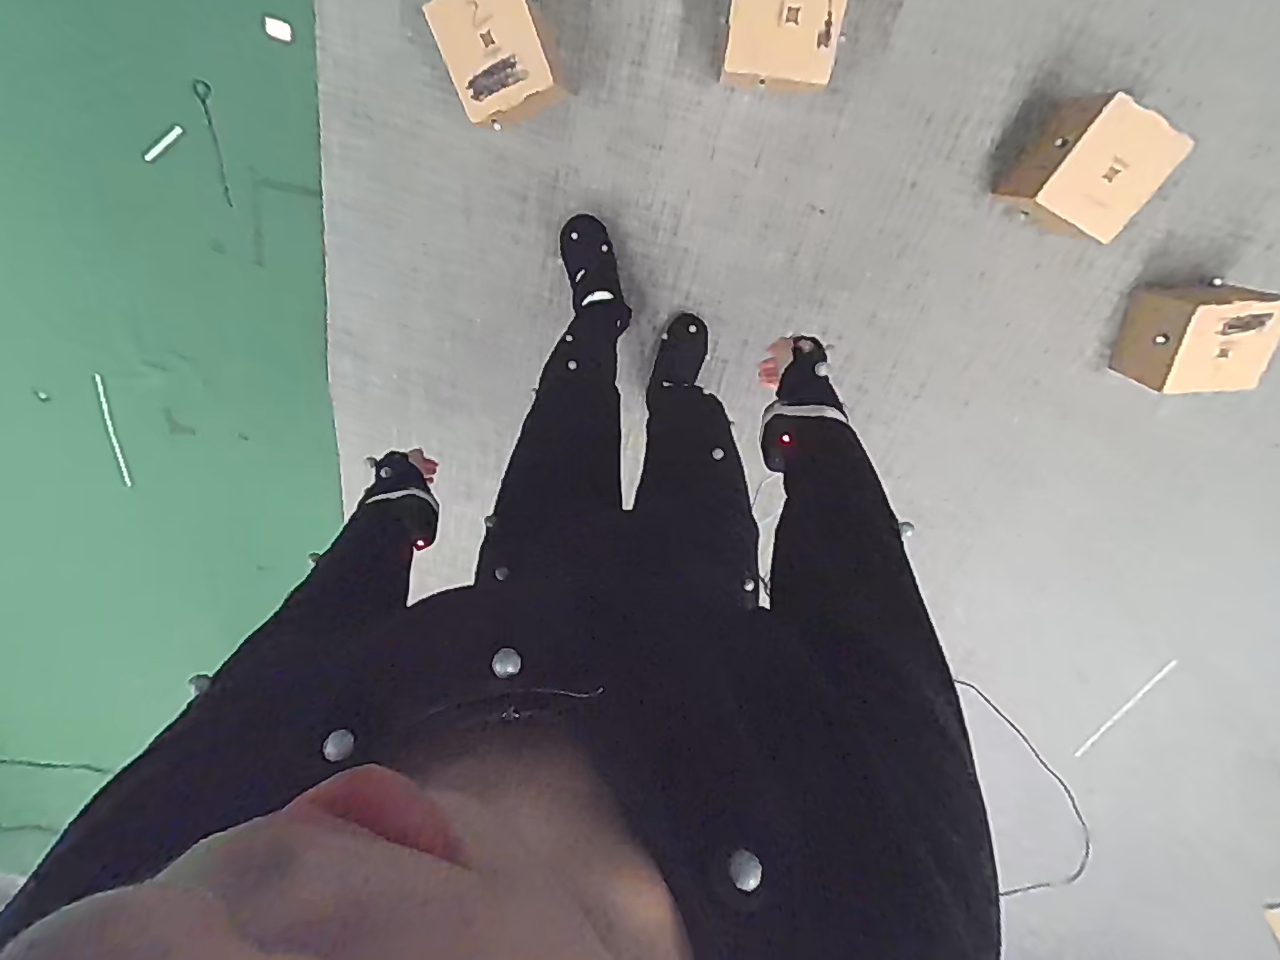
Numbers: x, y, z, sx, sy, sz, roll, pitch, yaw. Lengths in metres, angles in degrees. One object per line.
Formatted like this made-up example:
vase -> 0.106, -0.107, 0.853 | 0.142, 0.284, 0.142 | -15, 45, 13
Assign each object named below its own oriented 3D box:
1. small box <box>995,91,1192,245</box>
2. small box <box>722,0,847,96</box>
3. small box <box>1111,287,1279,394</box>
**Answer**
small box -> 0.797, -0.555, 0.975 | 0.168, 0.176, 0.179 | 26, 119, -9
small box -> 0.238, -0.765, 0.911 | 0.179, 0.176, 0.168 | 9, 120, 2
small box -> 1.115, -0.287, 1.094 | 0.168, 0.176, 0.179 | -2, 120, 7
